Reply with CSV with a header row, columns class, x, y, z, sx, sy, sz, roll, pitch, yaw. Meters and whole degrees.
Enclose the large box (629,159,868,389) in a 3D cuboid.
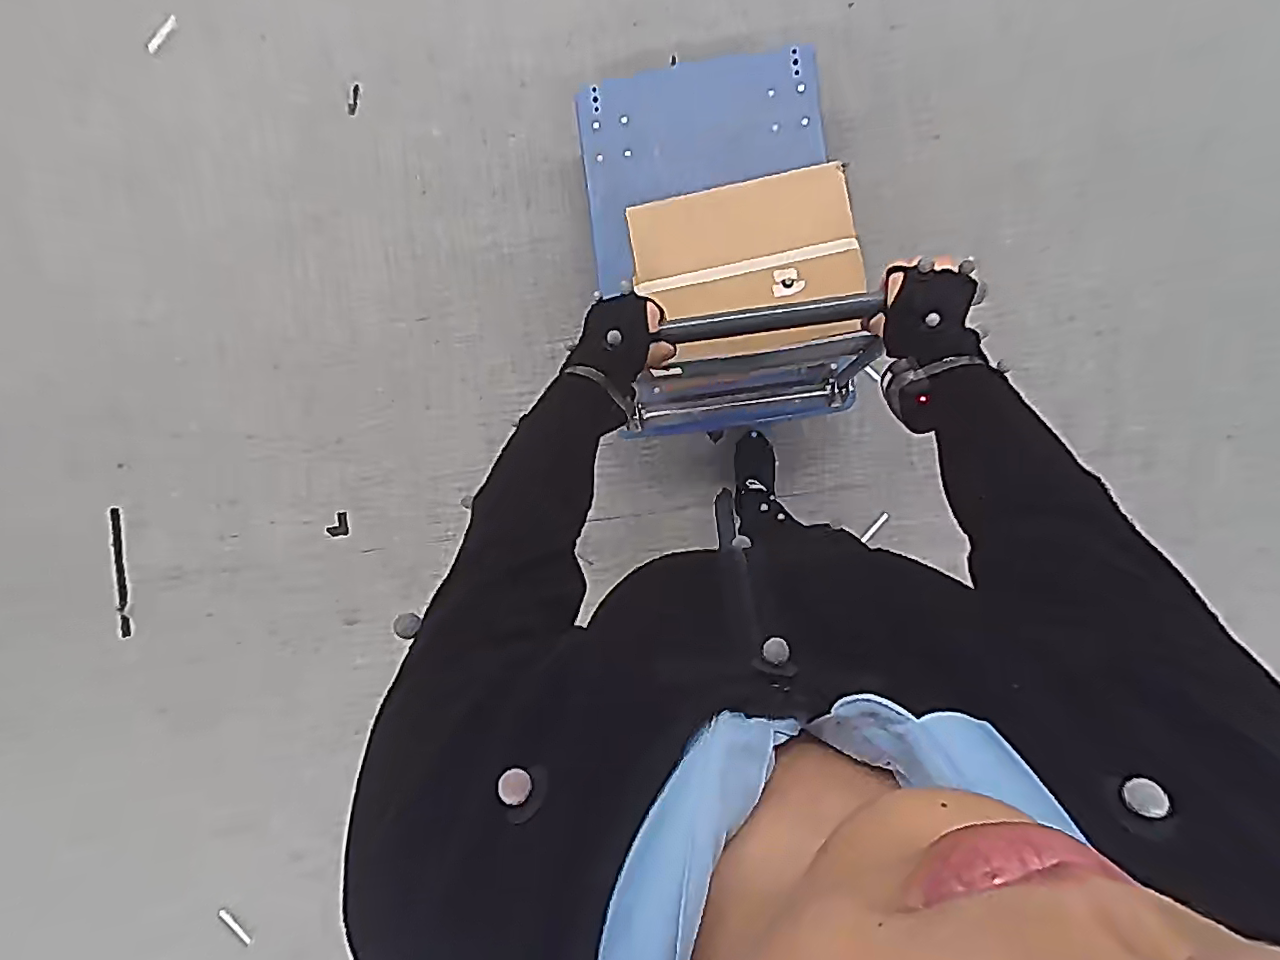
class,x,y,z,sx,sy,sz,roll,pitch,yaw
large box,0.209,-0.406,1.157,0.408,0.320,0.320,-11,91,4
